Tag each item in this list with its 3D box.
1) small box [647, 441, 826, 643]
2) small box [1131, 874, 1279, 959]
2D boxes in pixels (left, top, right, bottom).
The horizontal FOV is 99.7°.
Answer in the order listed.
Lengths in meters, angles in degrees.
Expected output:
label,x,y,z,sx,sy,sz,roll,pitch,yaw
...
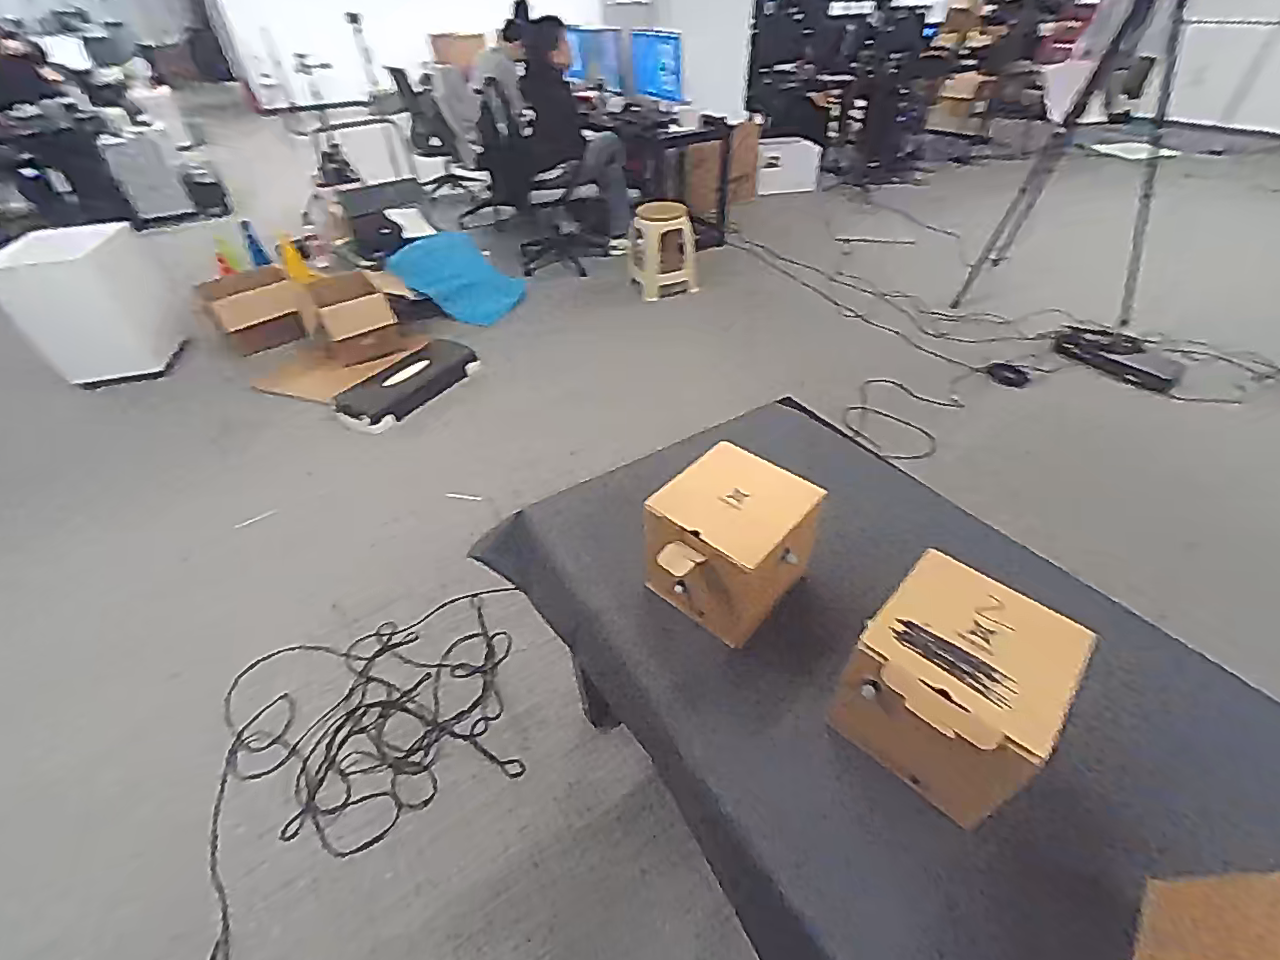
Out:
label,x,y,z,sx,sy,sz,roll,pitch,yaw
small box,0.123,0.082,0.741,0.168,0.176,0.179,31,52,31
small box,0.456,0.398,0.344,0.168,0.176,0.179,34,59,22
